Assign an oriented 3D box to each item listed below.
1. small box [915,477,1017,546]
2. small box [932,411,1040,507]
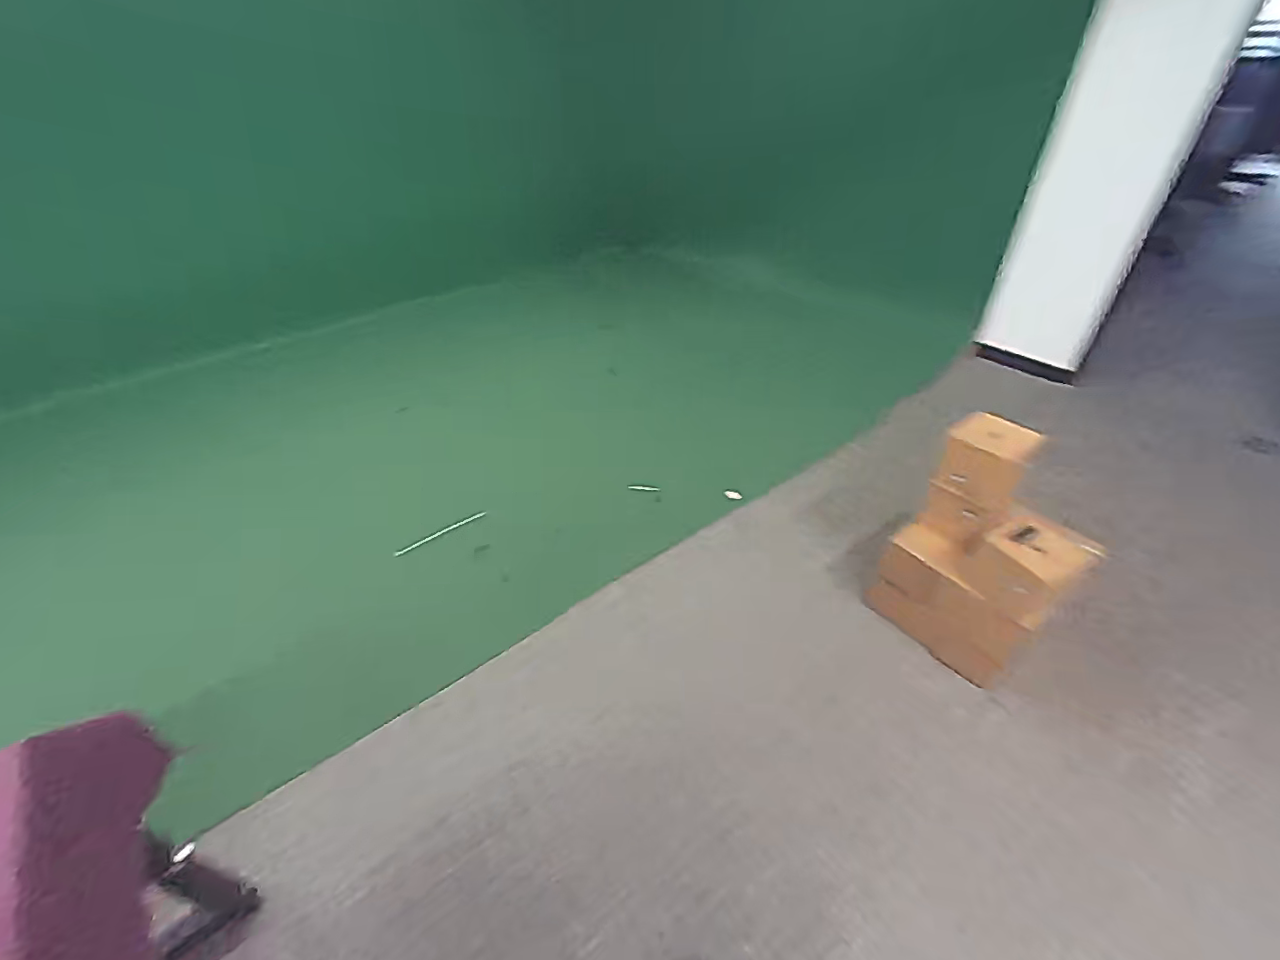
[{"bbox_3d":[0.947,0.069,1.583,0.168,0.176,0.179,-27,45,-28],"label":"small box"},{"bbox_3d":[0.938,-0.058,1.482,0.179,0.176,0.168,-26,45,-26],"label":"small box"}]
